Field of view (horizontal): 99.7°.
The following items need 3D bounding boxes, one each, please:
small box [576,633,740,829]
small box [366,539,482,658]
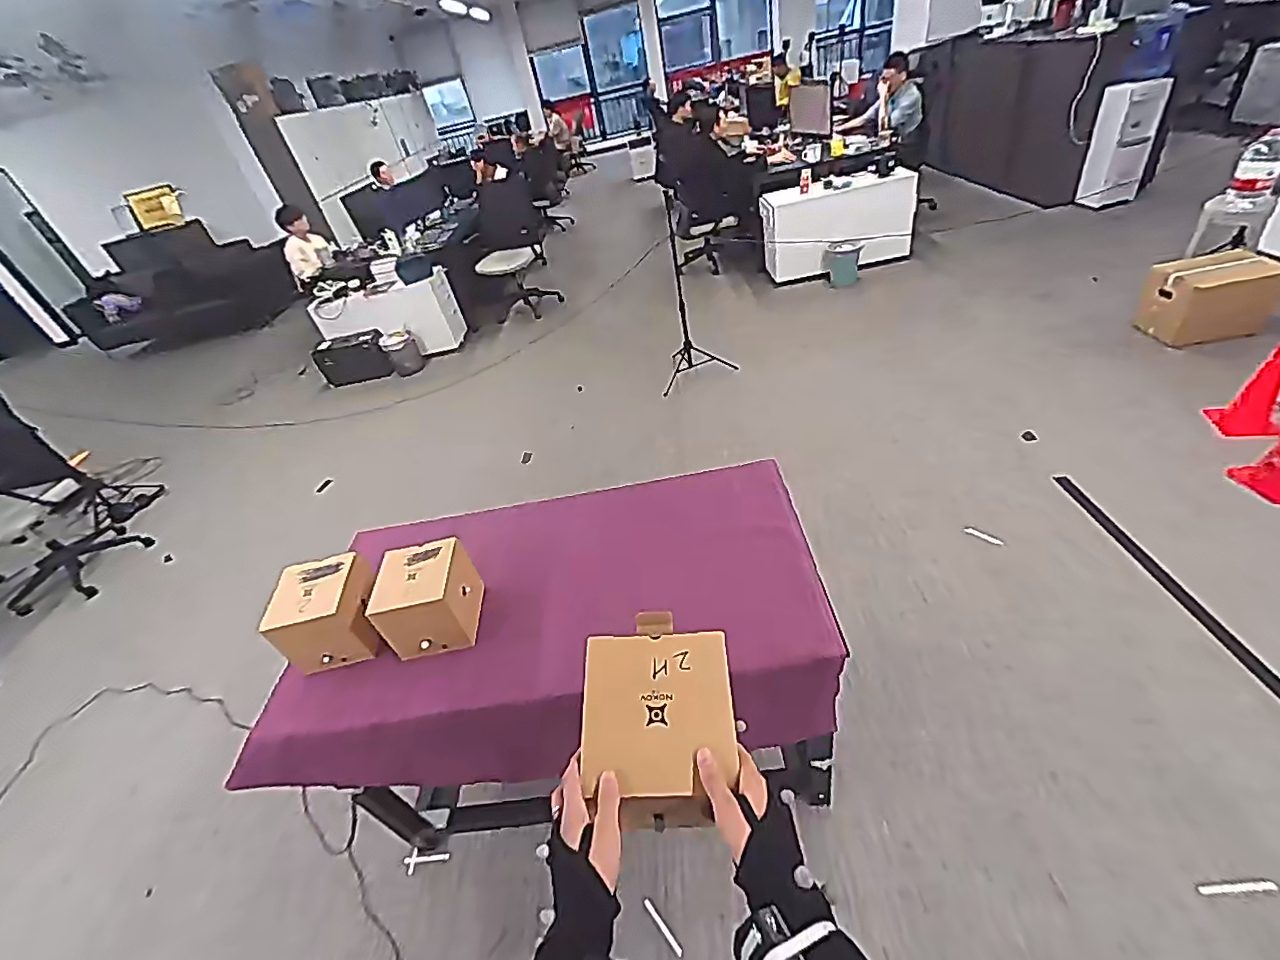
[{"bbox_3d":[0.025,0.301,0.640,0.168,0.176,0.179,-3,47,3],"label":"small box"},{"bbox_3d":[-0.458,0.259,1.183,0.168,0.176,0.179,-12,39,3],"label":"small box"}]
